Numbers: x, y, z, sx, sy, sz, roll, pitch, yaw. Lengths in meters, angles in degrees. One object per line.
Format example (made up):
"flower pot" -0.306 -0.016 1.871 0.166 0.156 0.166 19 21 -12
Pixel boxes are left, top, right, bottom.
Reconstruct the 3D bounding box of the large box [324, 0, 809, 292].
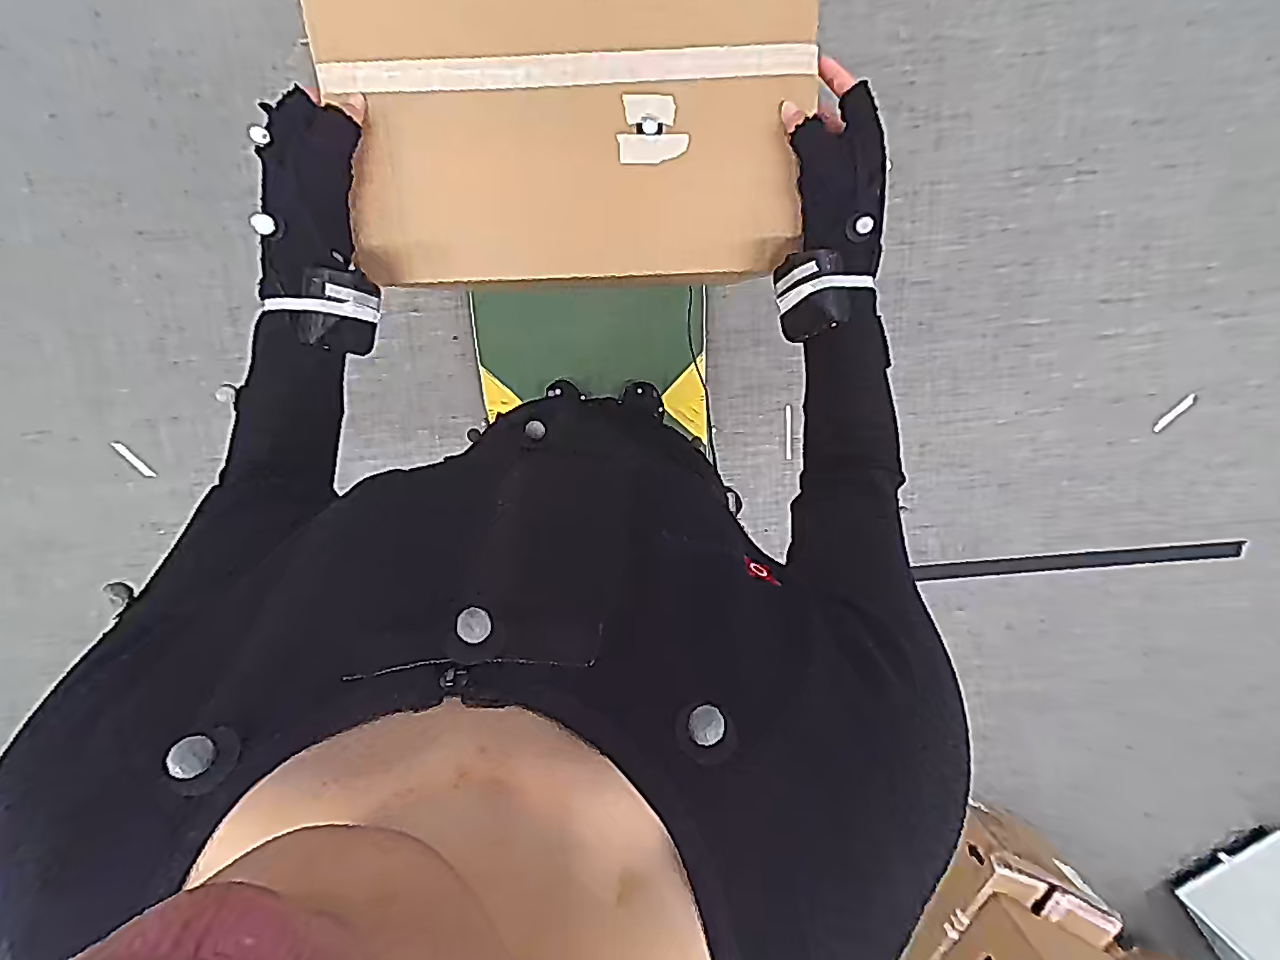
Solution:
"large box" -0.061 -0.387 0.598 0.408 0.320 0.320 -3 108 -1
